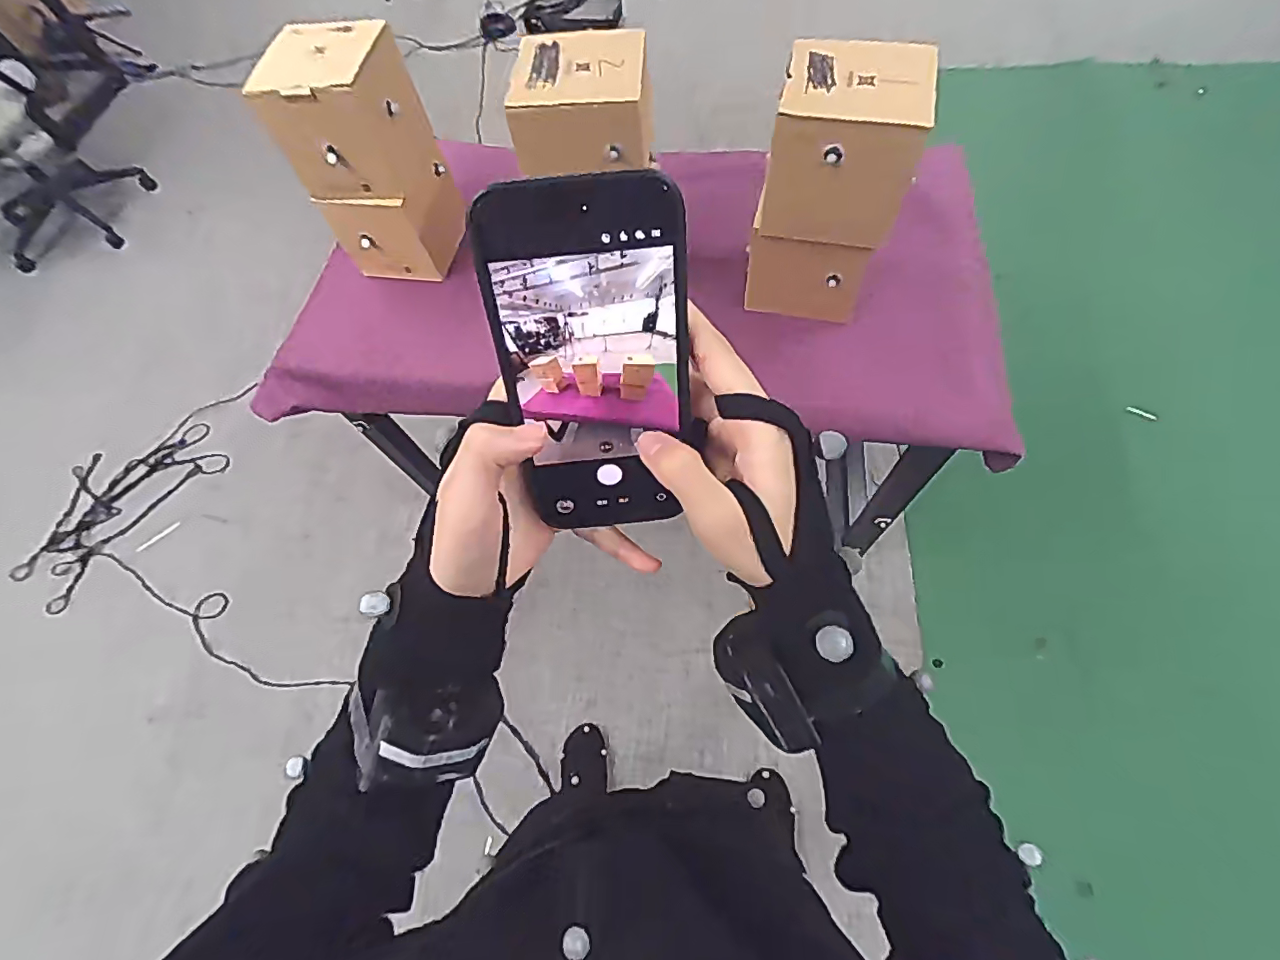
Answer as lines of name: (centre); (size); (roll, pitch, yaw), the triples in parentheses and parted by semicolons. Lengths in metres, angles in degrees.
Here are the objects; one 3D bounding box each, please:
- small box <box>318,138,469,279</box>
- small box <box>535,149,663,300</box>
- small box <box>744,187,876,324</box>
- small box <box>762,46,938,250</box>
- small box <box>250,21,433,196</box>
small box: (-0.437, -0.494, 0.994); (0.168, 0.176, 0.179); (7, 65, 9)
small box: (-0.057, -0.430, 0.926); (0.179, 0.176, 0.168); (7, 65, 9)
small box: (0.275, -0.376, 0.871); (0.179, 0.176, 0.168); (12, 65, 12)
small box: (0.267, -0.433, 0.717); (0.179, 0.176, 0.168); (13, 66, 10)
small box: (-0.449, -0.574, 0.850); (0.168, 0.176, 0.179); (3, 65, 6)
